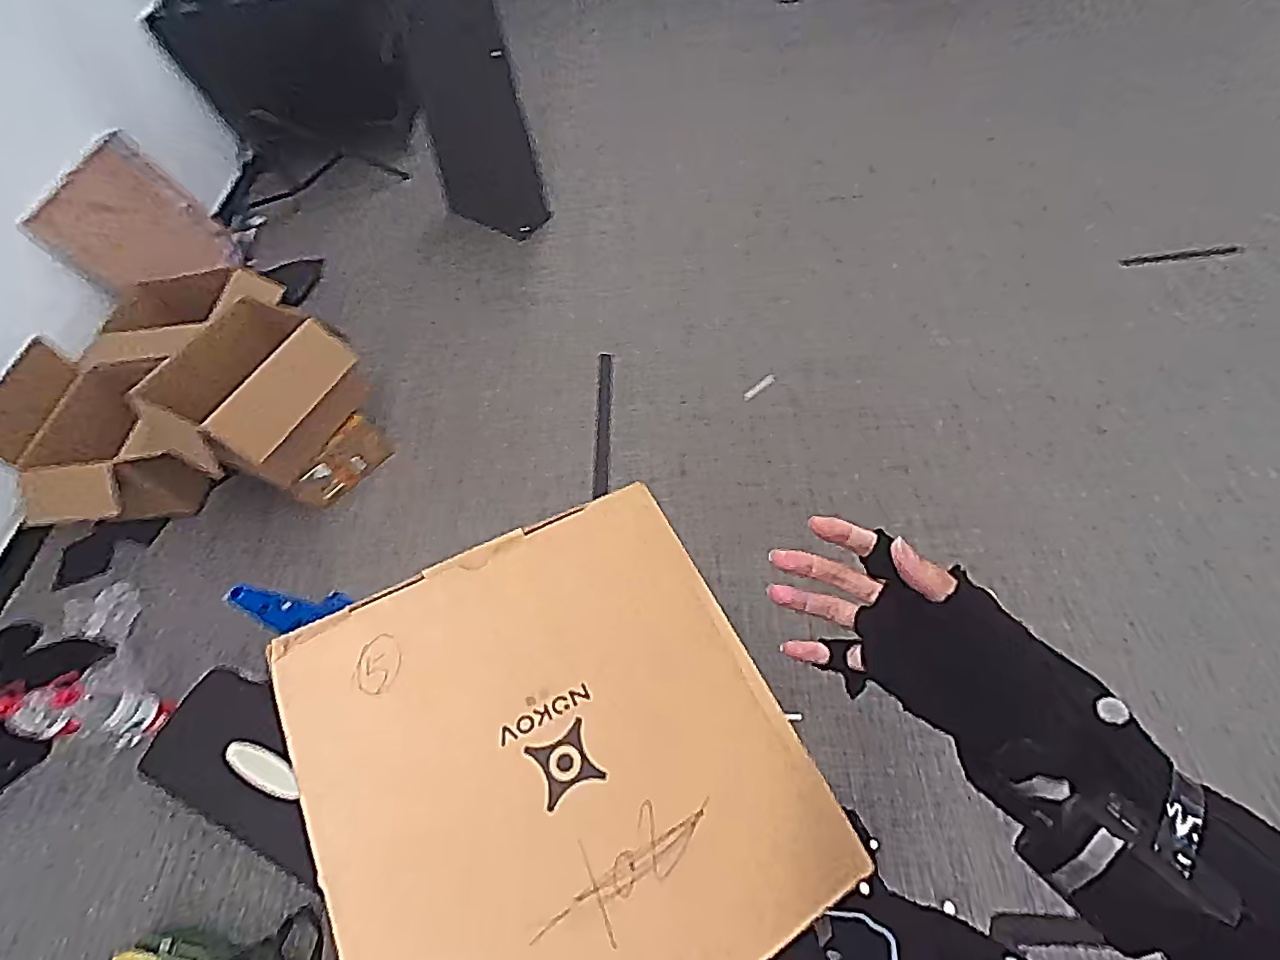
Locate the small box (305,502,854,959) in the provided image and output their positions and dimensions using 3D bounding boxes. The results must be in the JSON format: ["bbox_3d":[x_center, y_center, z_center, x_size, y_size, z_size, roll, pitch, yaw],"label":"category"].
[{"bbox_3d":[-0.037,0.145,0.282,0.168,0.176,0.179,-23,67,-18],"label":"small box"}]
